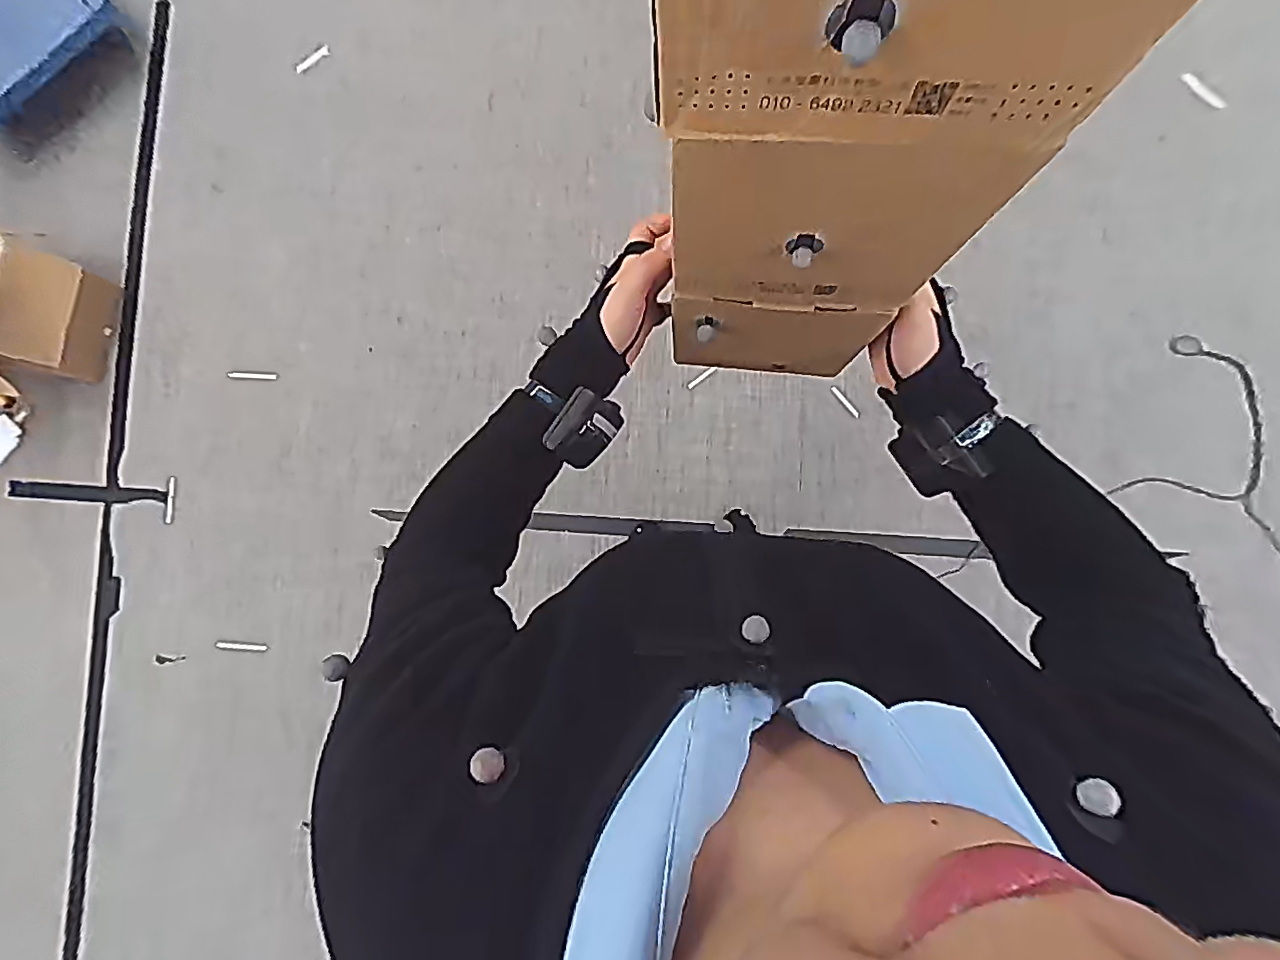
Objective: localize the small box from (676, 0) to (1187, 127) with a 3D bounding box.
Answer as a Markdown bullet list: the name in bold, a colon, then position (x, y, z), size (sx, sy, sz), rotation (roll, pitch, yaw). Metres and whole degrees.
- **small box**: position (0.095, -0.241, 0.147), size (0.168, 0.176, 0.179), rotation (4, 86, 5)

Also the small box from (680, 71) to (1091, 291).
- **small box**: position (0.112, -0.225, 0.308), size (0.168, 0.176, 0.179), rotation (5, 85, 4)
